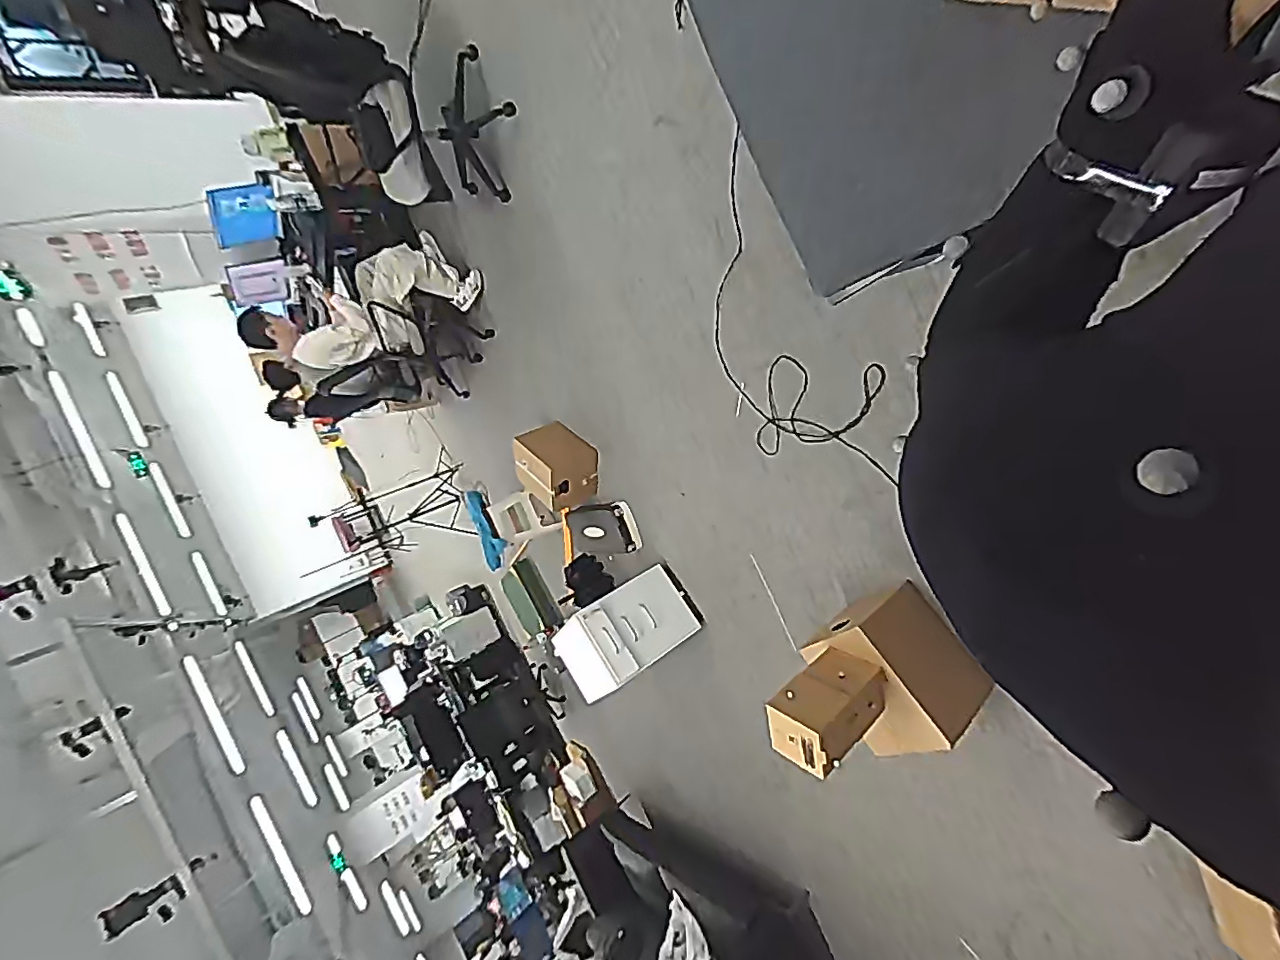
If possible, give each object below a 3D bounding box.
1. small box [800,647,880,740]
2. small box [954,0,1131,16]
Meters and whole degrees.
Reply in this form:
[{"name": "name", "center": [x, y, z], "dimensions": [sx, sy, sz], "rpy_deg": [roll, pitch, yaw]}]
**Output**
[{"name": "small box", "center": [0.613, 0.637, 1.639], "dimensions": [0.179, 0.176, 0.168], "rpy_deg": [11, 120, 49]}, {"name": "small box", "center": [0.356, -0.509, 0.452], "dimensions": [0.179, 0.176, 0.168], "rpy_deg": [41, 140, 33]}]
